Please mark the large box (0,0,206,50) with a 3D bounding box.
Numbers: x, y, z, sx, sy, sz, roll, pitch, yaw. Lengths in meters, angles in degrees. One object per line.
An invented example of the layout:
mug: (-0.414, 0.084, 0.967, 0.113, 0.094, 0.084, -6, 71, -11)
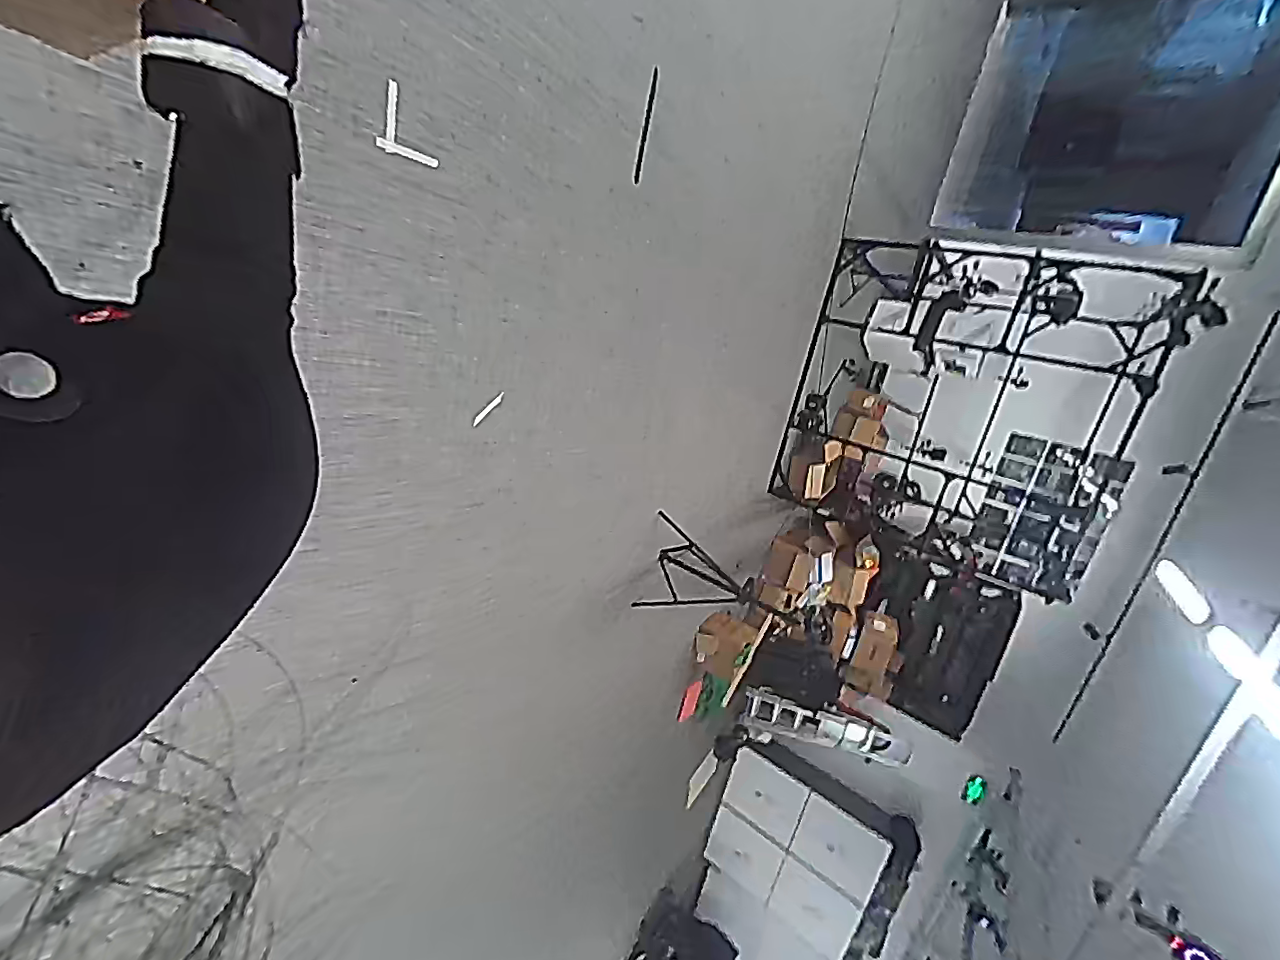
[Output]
large box: (-0.478, -0.492, 0.240, 0.408, 0.320, 0.320, -2, 111, -57)
